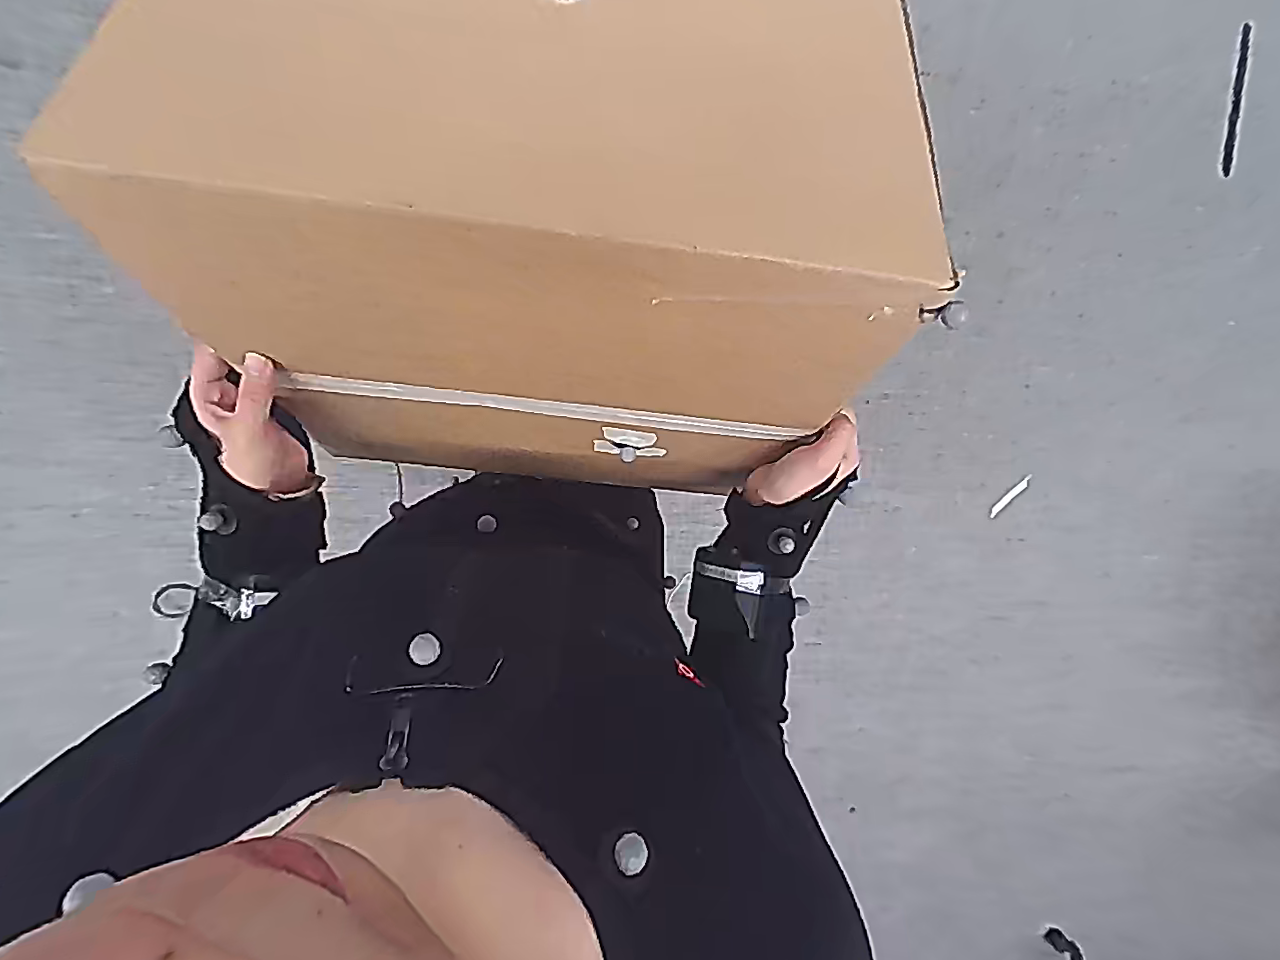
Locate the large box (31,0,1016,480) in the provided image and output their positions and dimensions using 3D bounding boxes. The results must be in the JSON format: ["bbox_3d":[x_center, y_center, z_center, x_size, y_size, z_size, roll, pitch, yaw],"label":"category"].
[{"bbox_3d":[-0.045,-0.209,0.407,0.408,0.320,0.320,5,70,-5],"label":"large box"}]
